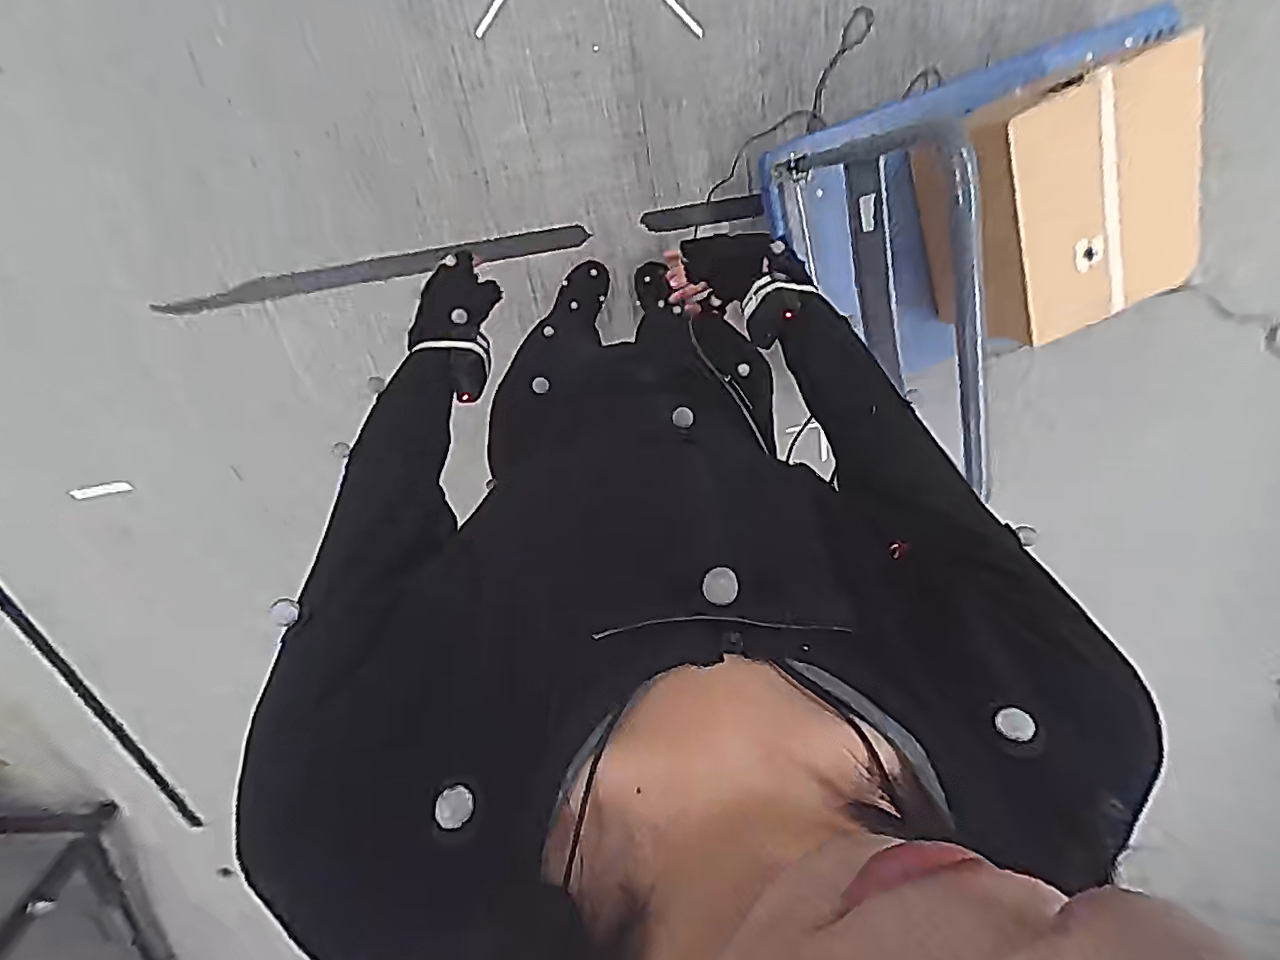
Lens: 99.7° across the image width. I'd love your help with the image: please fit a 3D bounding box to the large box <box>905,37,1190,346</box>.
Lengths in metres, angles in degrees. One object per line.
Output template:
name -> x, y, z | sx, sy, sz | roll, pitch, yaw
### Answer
large box -> 0.788, -0.539, 1.076 | 0.320, 0.320, 0.408 | -24, 116, 6
